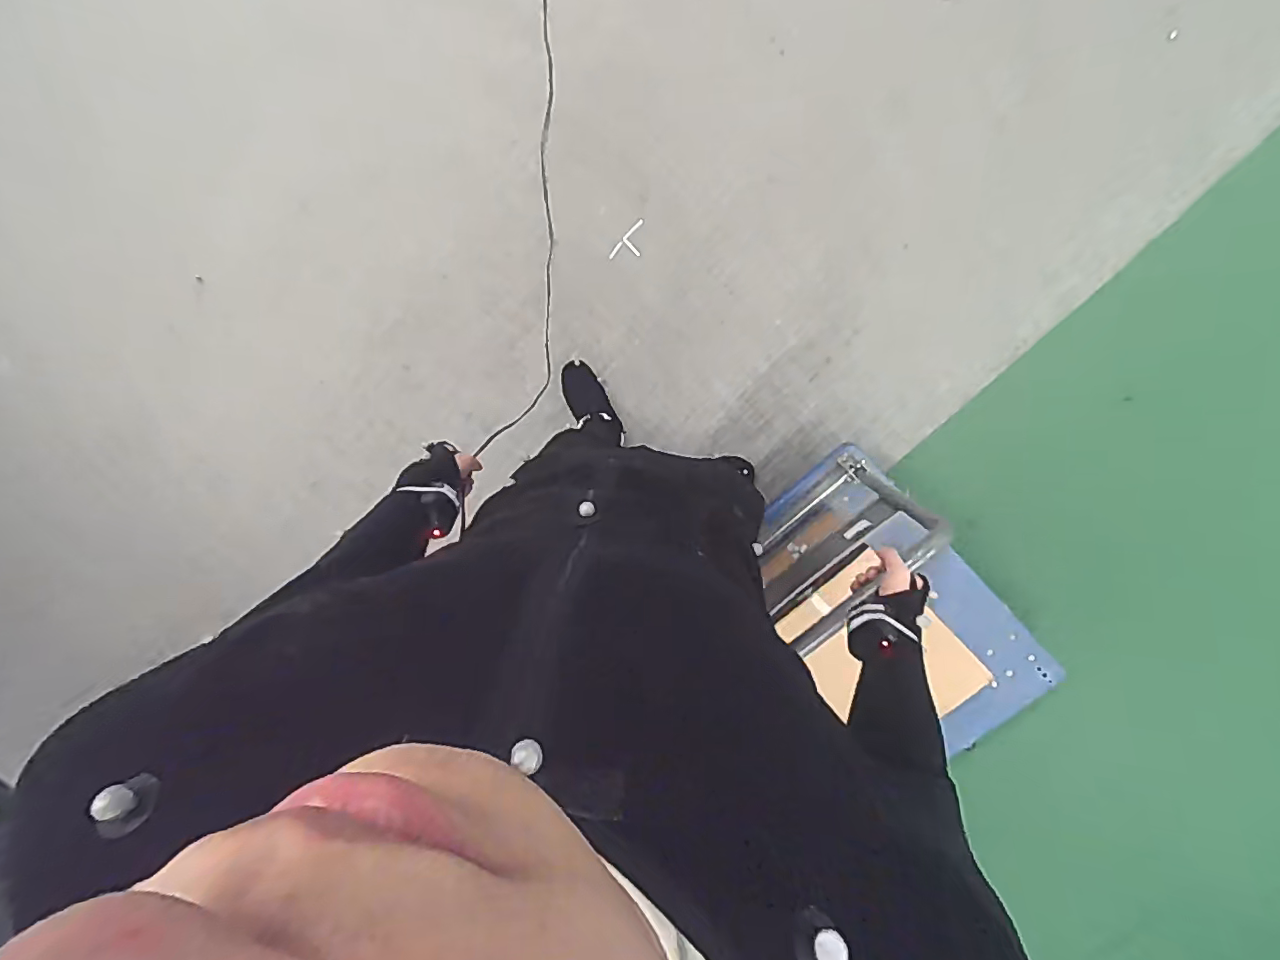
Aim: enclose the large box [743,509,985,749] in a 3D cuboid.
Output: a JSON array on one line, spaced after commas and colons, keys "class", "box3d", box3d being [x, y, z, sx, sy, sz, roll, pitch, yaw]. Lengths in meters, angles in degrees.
[{"class": "large box", "box3d": [0.510, 0.339, 1.319, 0.320, 0.320, 0.408, -43, 96, 13]}]
